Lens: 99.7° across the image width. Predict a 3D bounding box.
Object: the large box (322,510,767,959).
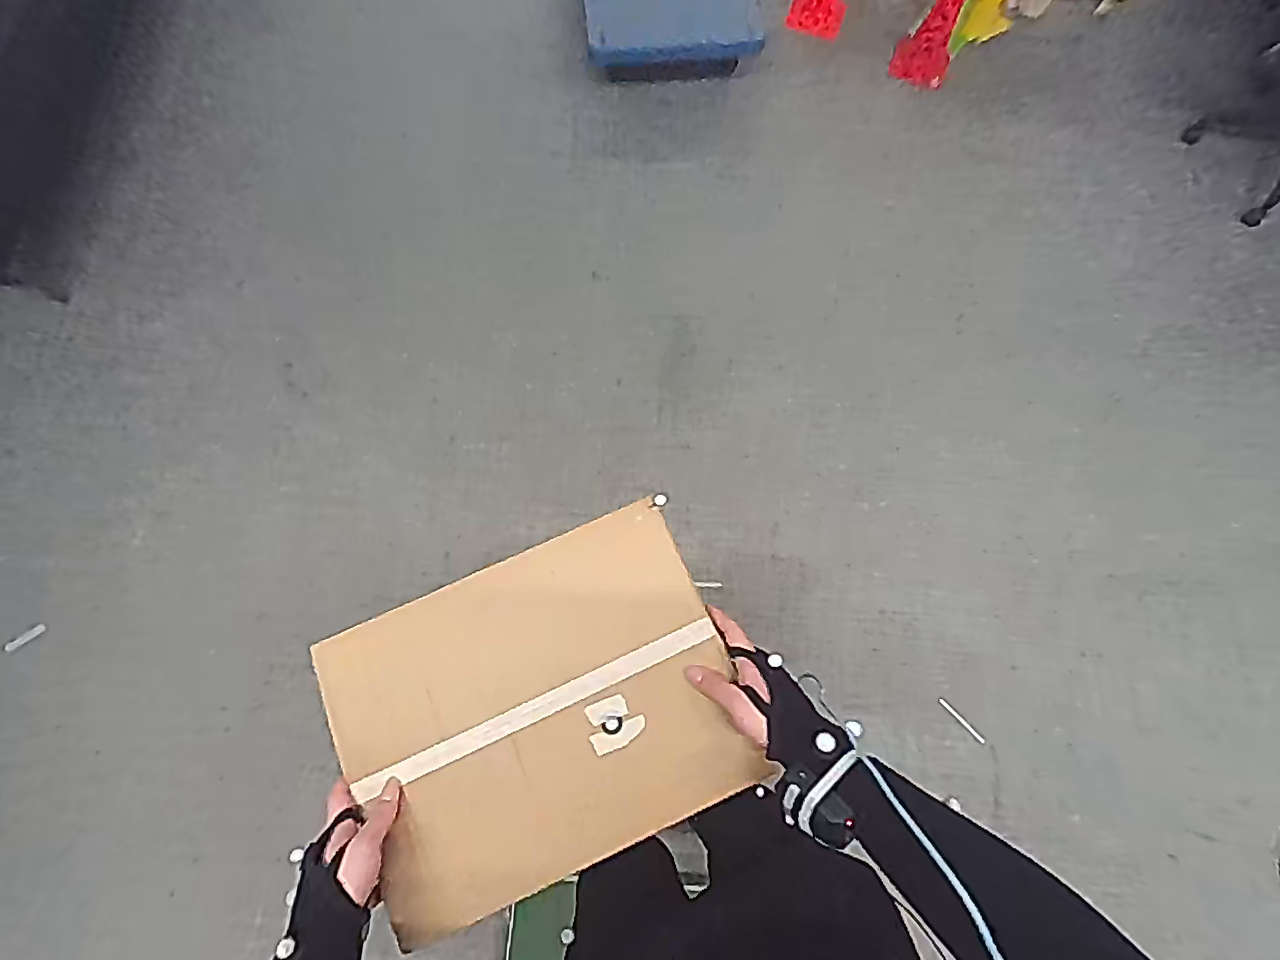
[{"bbox_3d":[-0.107,0.288,0.719,0.408,0.320,0.320,-25,78,-5],"label":"large box"}]
